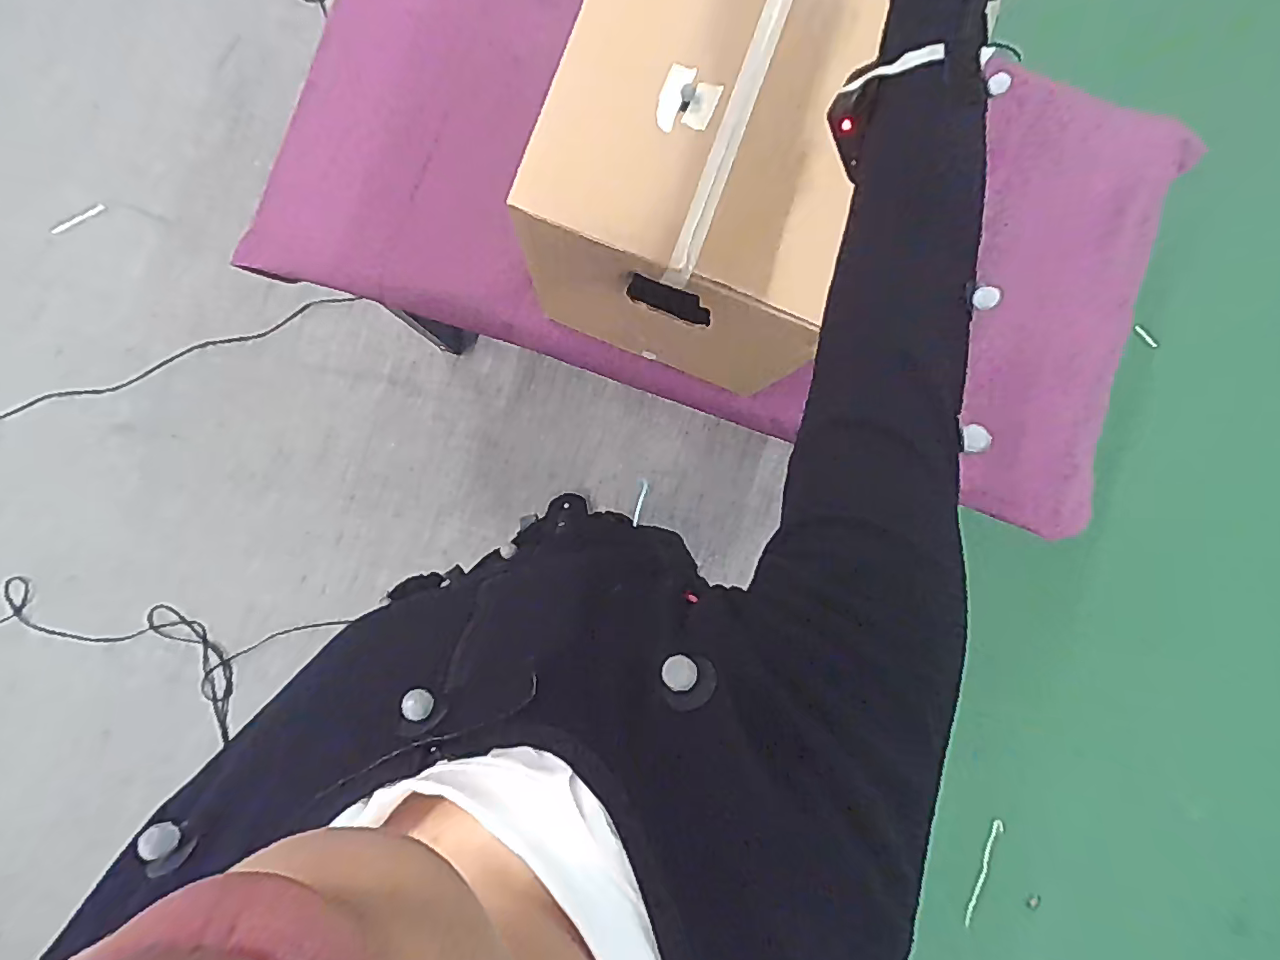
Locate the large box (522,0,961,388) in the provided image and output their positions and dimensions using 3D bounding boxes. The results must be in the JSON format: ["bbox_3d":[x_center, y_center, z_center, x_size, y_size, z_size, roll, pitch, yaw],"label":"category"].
[{"bbox_3d":[0.093,-0.367,0.632,0.320,0.320,0.408,21,89,-3],"label":"large box"}]
